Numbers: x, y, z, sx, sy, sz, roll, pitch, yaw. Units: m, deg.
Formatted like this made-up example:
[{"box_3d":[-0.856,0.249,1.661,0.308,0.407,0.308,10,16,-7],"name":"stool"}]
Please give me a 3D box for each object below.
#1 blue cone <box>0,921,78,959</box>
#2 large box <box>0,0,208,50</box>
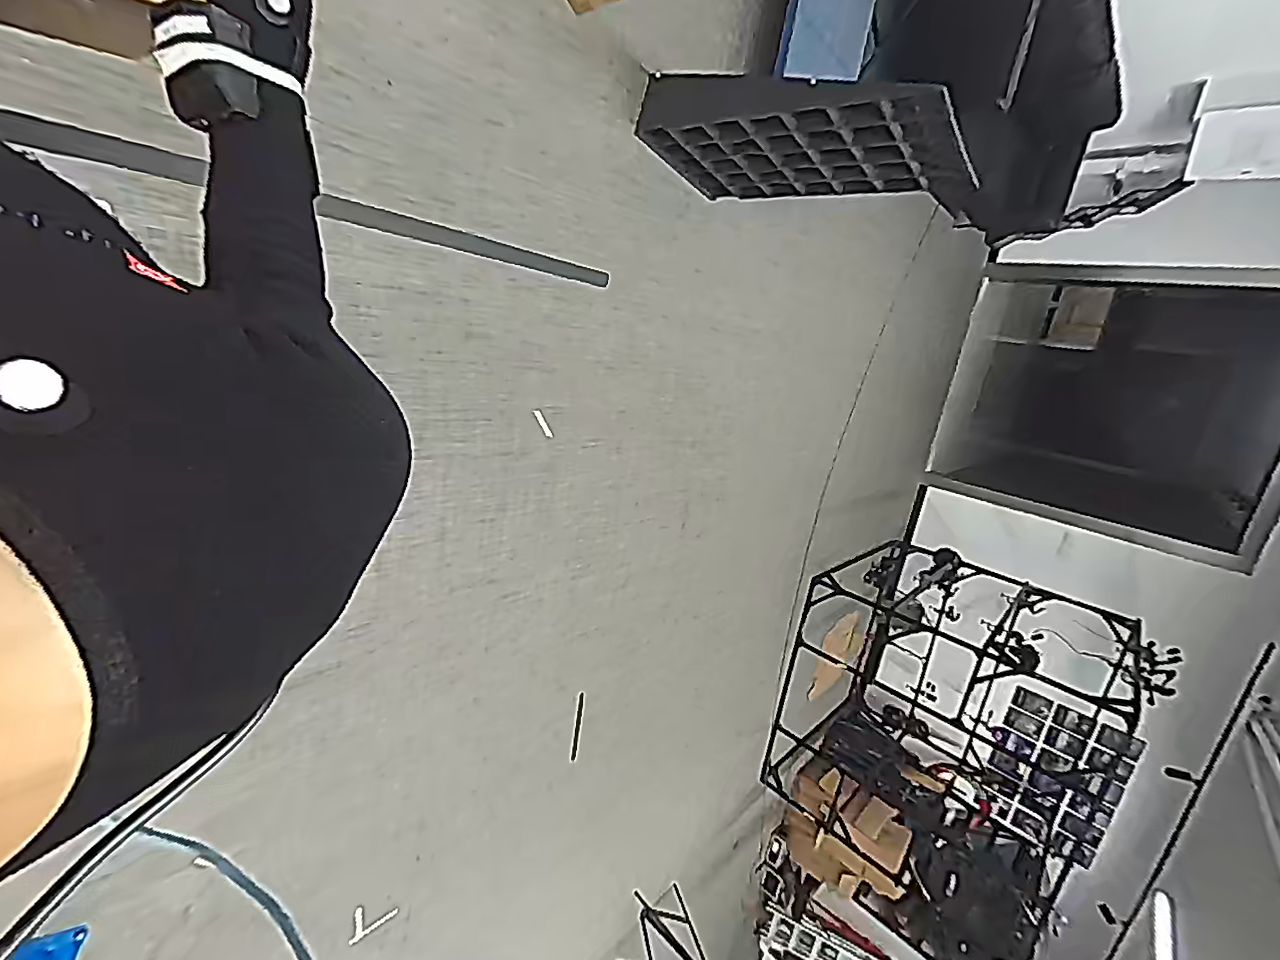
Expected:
[{"box_3d":[-1.339,1.185,1.149,0.193,0.380,0.192,27,86,-51],"name":"blue cone"},{"box_3d":[-0.530,-0.487,0.275,0.408,0.320,0.320,-17,124,-46],"name":"large box"}]
